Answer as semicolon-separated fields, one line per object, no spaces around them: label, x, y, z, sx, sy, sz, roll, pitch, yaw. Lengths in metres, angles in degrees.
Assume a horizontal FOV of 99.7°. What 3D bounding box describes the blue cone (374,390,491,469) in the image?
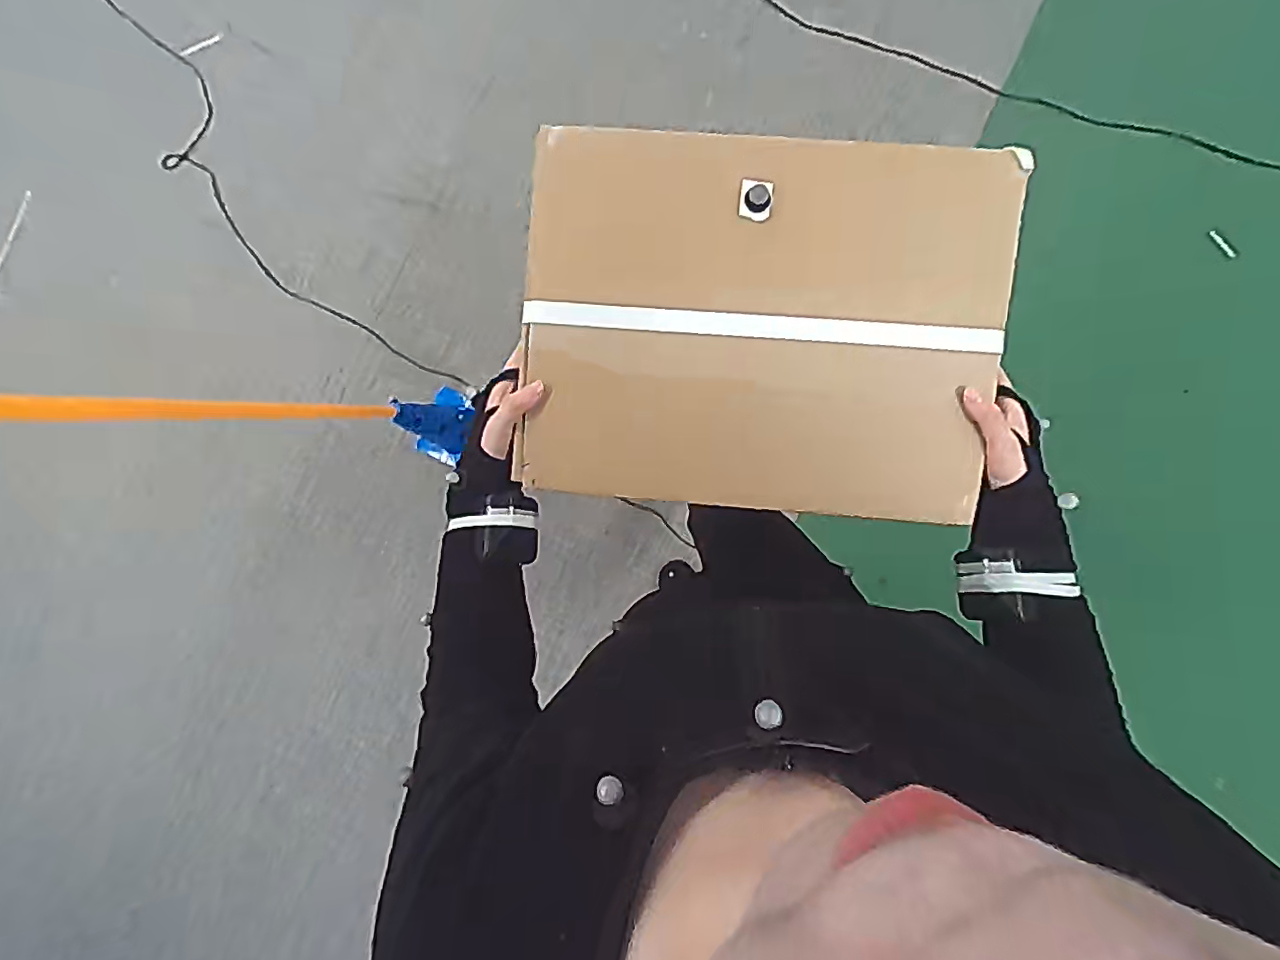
blue cone;-0.535;-0.141;1.352;0.192;0.380;0.193;23;92;4
